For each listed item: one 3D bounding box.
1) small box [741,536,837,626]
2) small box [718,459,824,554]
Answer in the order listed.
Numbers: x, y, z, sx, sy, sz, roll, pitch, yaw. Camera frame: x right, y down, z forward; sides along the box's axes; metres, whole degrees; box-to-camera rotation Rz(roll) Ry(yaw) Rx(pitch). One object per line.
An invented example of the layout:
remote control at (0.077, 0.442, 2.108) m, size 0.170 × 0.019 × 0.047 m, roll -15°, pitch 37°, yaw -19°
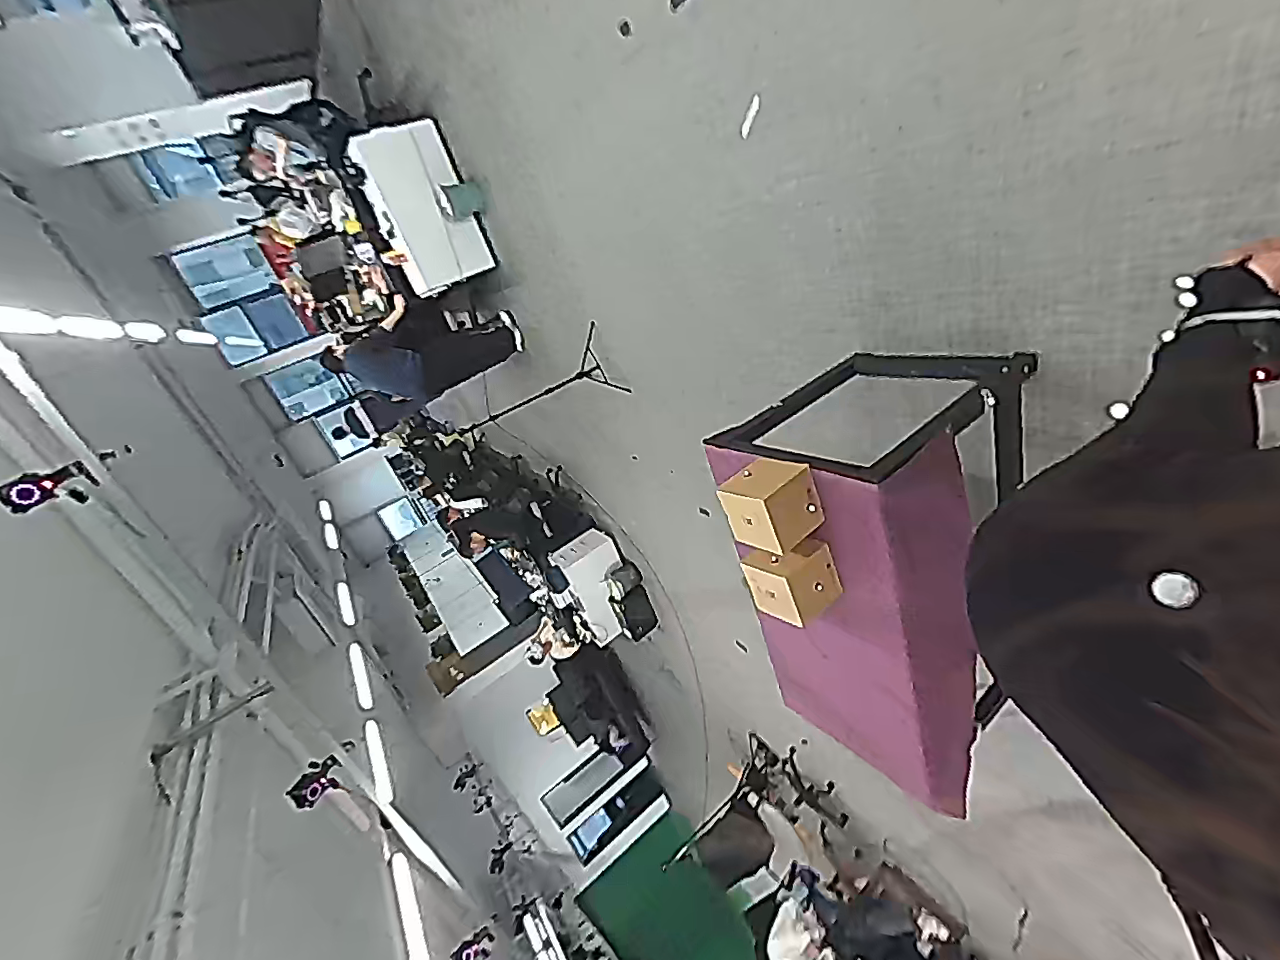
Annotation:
small box at (0.415, 0.263, 1.479) m, size 0.179 × 0.176 × 0.168 m, roll 14°, pitch 131°, yaw 60°
small box at (0.335, 0.059, 1.382) m, size 0.179 × 0.176 × 0.168 m, roll 16°, pitch 136°, yaw 59°
